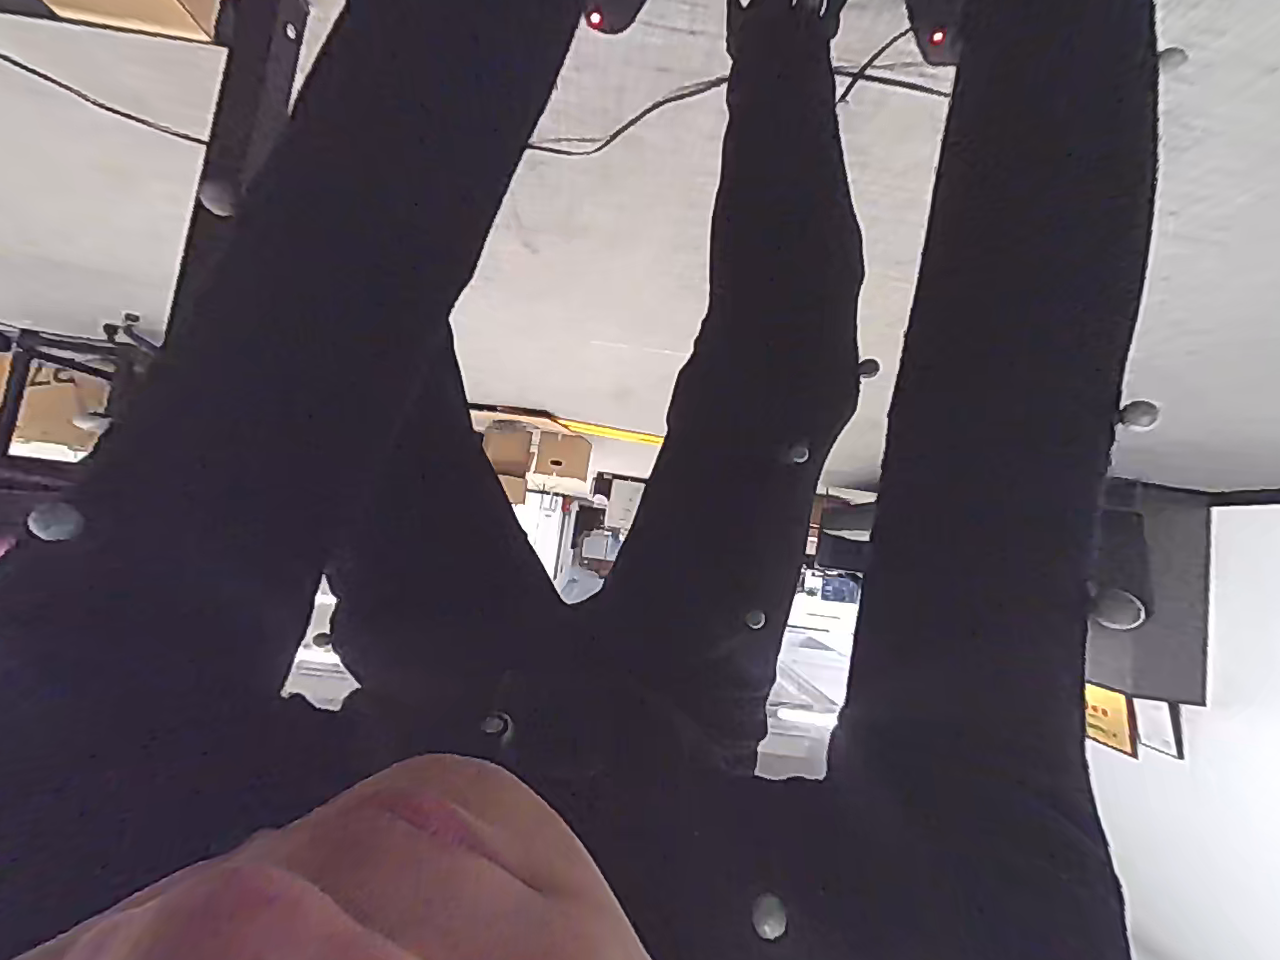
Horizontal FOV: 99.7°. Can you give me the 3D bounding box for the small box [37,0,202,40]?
[{"bbox_3d":[-0.534,-0.574,0.504,0.168,0.176,0.179,8,174,-2],"label":"small box"}]
